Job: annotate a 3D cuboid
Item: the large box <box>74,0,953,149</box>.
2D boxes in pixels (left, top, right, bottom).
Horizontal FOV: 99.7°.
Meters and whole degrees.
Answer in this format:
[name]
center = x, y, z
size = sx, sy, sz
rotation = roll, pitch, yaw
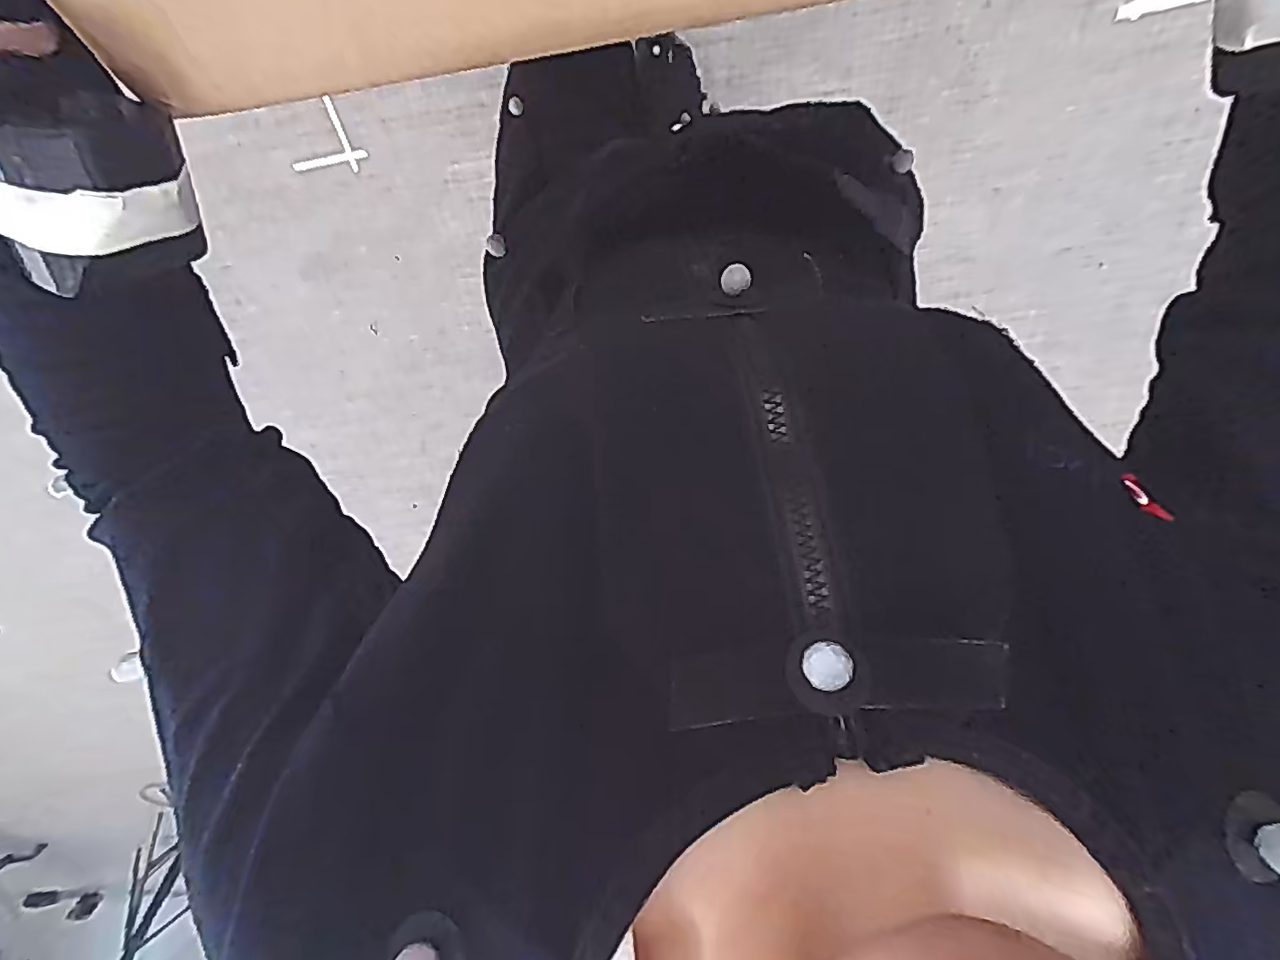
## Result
[large box]
center = -0.026, -0.370, 0.143
size = 0.408, 0.320, 0.320
rotation = -10, 156, 2
